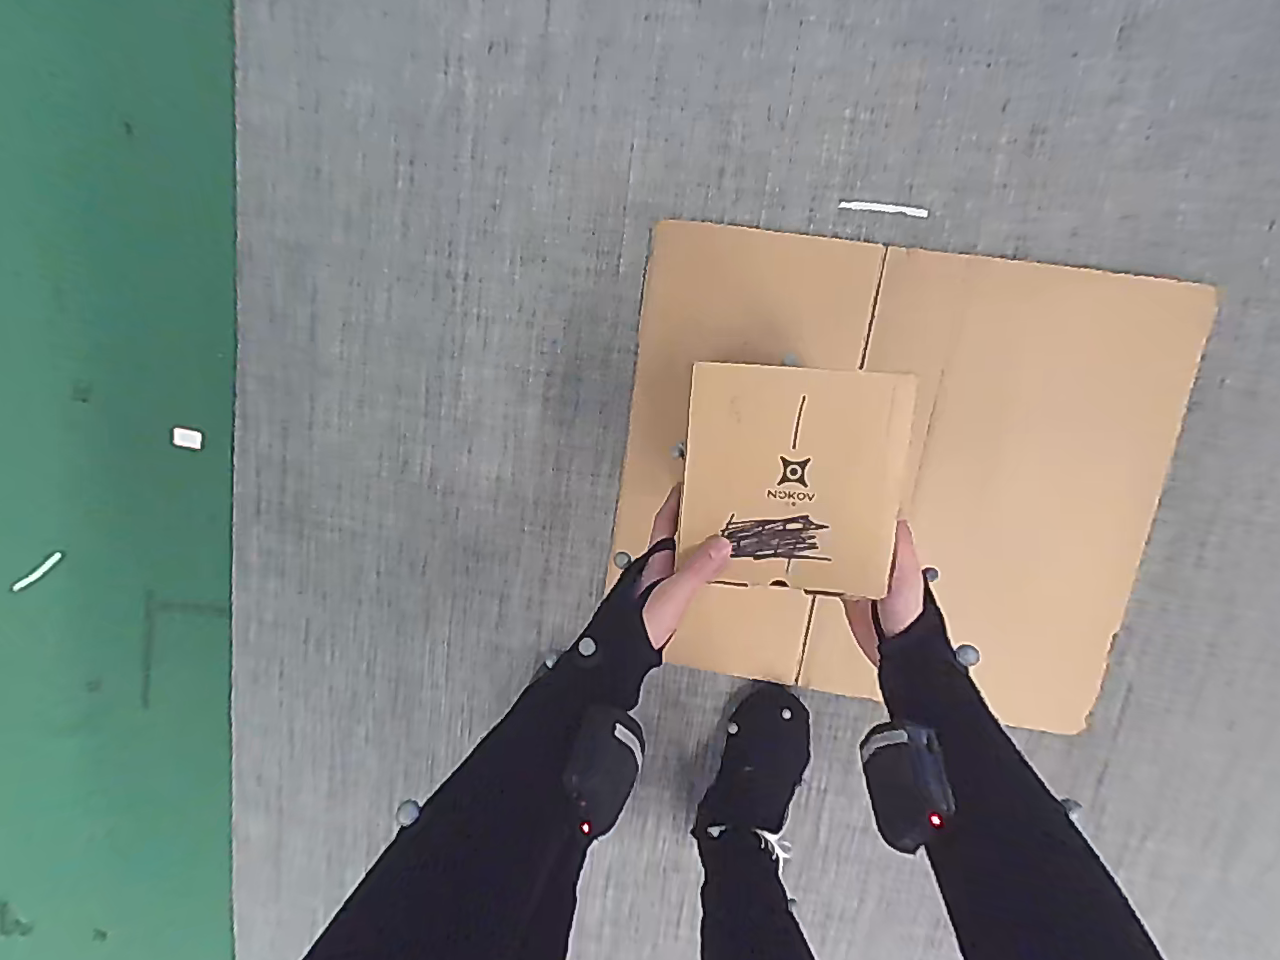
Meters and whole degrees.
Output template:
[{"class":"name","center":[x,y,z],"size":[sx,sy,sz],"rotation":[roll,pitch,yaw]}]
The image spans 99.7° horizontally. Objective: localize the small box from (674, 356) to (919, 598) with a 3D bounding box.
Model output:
[{"class":"small box","center":[0.123,-0.013,0.487],"size":[0.168,0.176,0.179],"rotation":[5,99,5]}]
